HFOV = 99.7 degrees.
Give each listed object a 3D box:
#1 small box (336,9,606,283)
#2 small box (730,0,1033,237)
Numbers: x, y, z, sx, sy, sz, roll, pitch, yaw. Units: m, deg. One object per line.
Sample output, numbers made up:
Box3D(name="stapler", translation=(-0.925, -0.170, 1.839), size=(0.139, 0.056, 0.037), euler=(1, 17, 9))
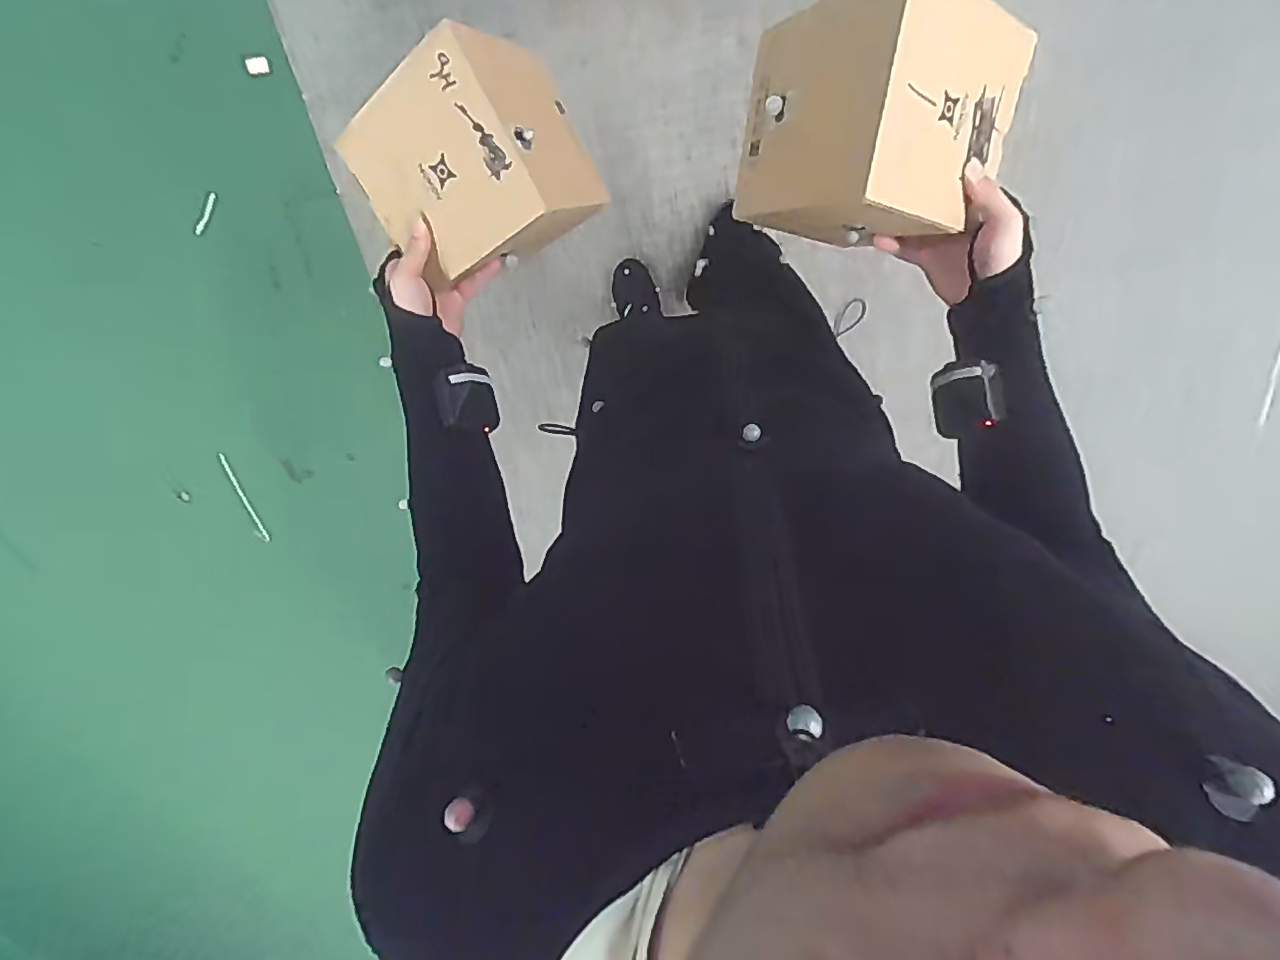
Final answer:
Box3D(name="small box", translation=(-0.166, -0.336, 0.577), size=(0.179, 0.176, 0.168), euler=(-19, 109, 30))
Box3D(name="small box", translation=(0.213, -0.333, 0.509), size=(0.179, 0.176, 0.168), euler=(-2, 108, -29))
